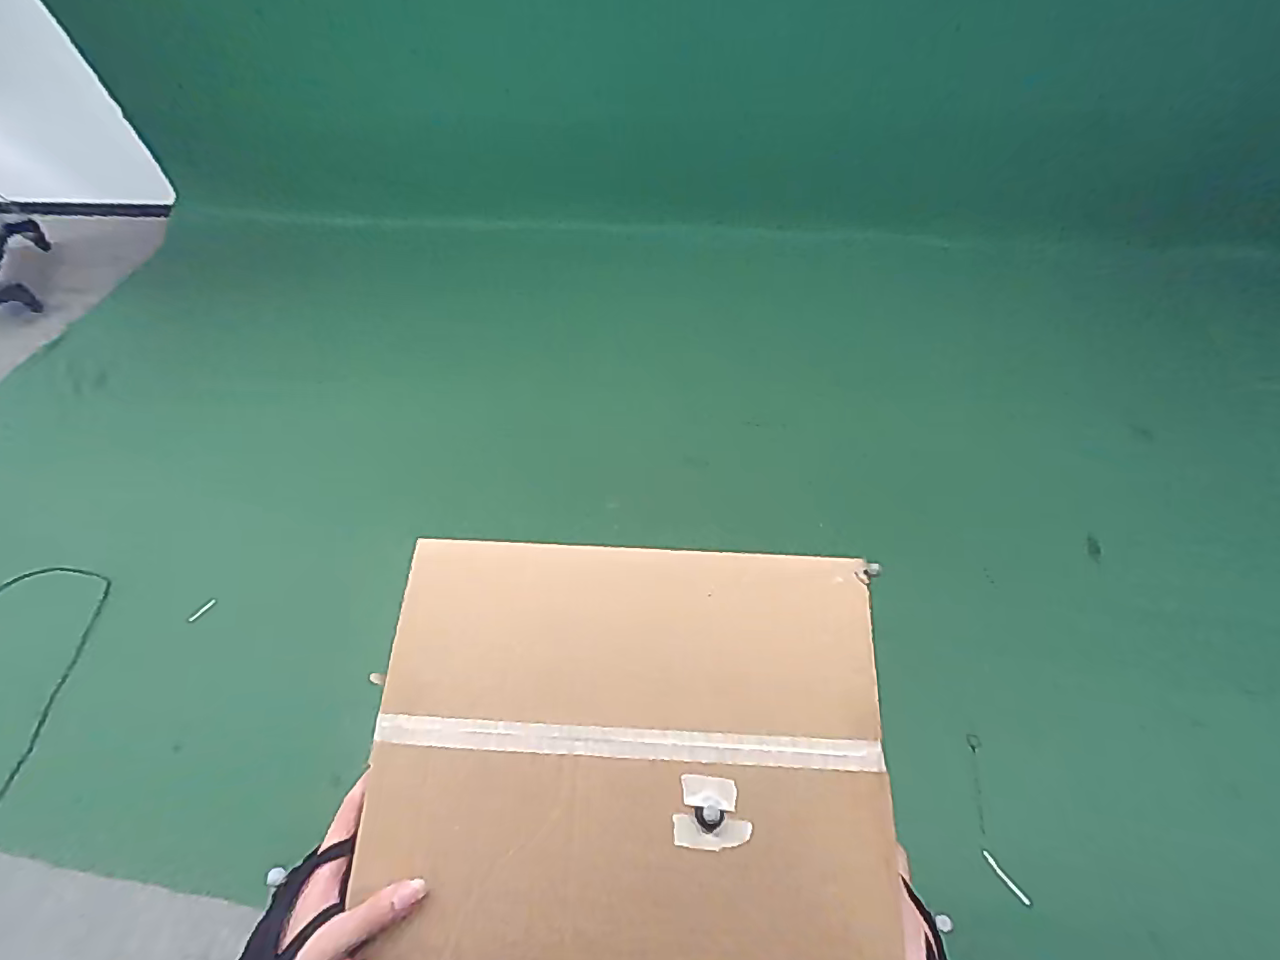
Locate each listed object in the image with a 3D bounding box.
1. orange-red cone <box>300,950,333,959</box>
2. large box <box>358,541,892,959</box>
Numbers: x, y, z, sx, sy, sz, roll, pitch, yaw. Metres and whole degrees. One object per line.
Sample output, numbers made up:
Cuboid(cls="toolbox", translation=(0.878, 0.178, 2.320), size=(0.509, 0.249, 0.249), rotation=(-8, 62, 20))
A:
Cuboid(cls="orange-red cone", translation=(-0.719, 1.069, 1.037), size=(0.199, 0.360, 0.198), rotation=(11, 54, 14))
Cuboid(cls="large box", translation=(-0.007, 0.260, 0.587), size=(0.408, 0.320, 0.320), rotation=(2, 70, 2))
